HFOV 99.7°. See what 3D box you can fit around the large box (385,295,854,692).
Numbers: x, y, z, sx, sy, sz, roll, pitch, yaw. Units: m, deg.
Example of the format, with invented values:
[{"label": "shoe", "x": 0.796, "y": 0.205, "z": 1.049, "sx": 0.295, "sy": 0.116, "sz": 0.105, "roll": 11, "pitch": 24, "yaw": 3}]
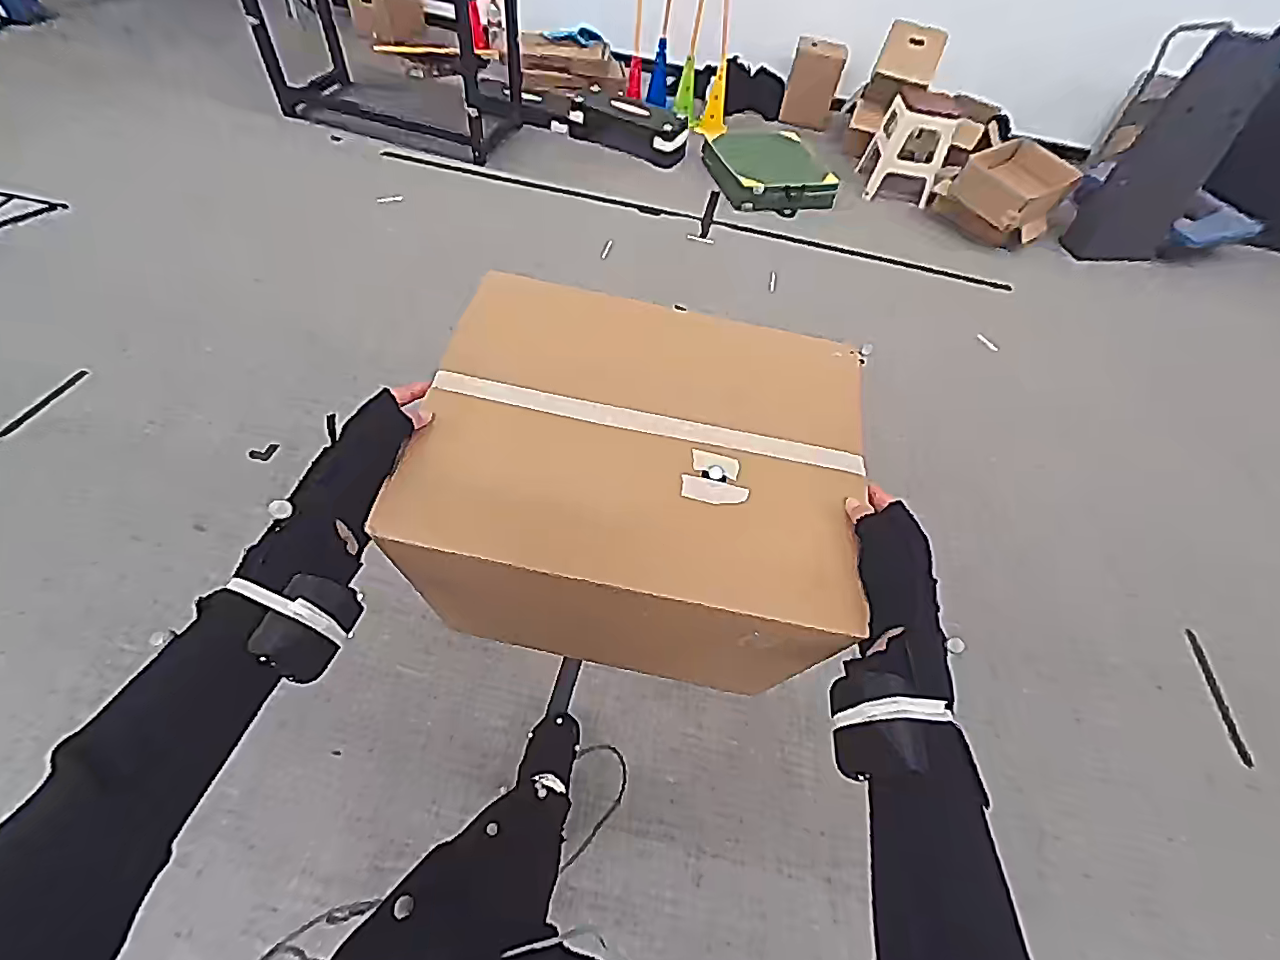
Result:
[{"label": "large box", "x": -0.010, "y": 0.036, "z": 0.646, "sx": 0.408, "sy": 0.320, "sz": 0.320, "roll": 12, "pitch": 60, "yaw": 0}]
